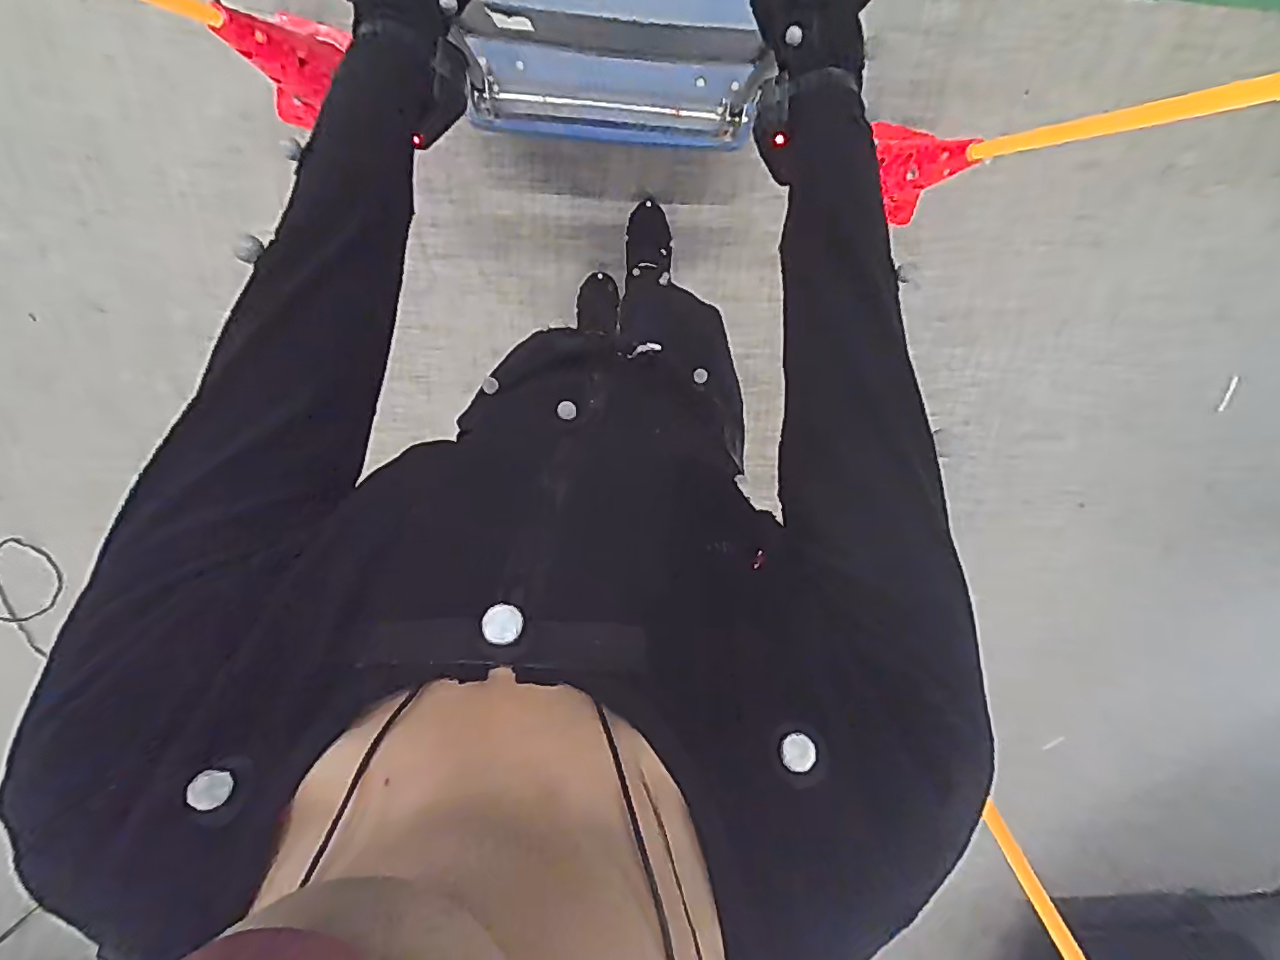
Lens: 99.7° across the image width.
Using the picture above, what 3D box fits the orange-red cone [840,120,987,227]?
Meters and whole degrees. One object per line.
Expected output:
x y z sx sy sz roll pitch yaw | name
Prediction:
0.606 -0.663 1.140 0.198 0.360 0.199 11 113 -7 | orange-red cone
